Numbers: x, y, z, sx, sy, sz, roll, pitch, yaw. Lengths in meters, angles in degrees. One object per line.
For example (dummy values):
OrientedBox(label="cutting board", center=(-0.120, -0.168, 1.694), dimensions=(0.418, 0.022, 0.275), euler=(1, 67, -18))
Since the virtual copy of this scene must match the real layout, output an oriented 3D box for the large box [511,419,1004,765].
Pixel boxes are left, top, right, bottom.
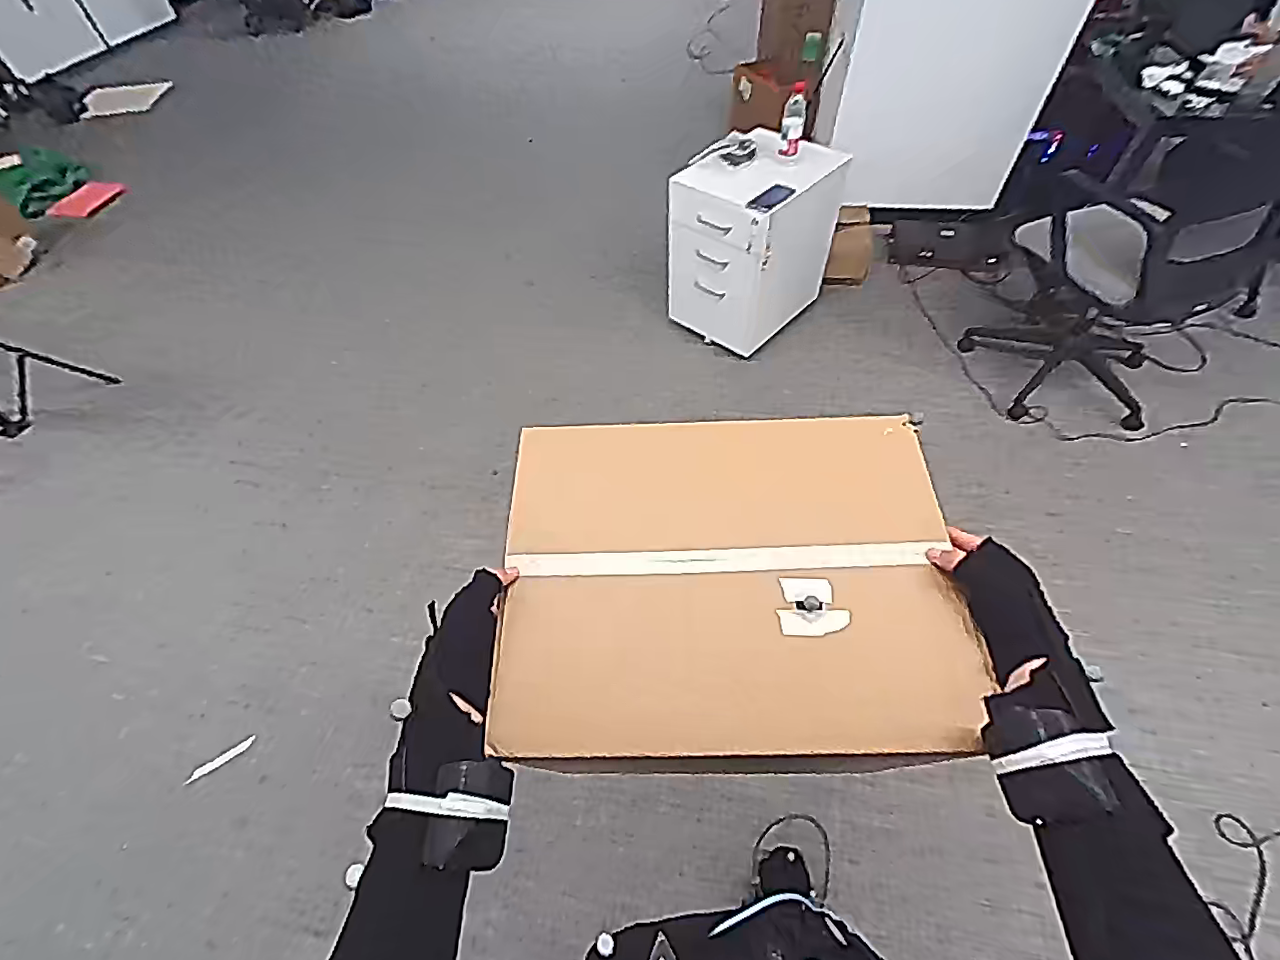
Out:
OrientedBox(label="large box", center=(0.093, 0.148, 0.632), dimensions=(0.408, 0.320, 0.320), euler=(-1, 61, 1))
